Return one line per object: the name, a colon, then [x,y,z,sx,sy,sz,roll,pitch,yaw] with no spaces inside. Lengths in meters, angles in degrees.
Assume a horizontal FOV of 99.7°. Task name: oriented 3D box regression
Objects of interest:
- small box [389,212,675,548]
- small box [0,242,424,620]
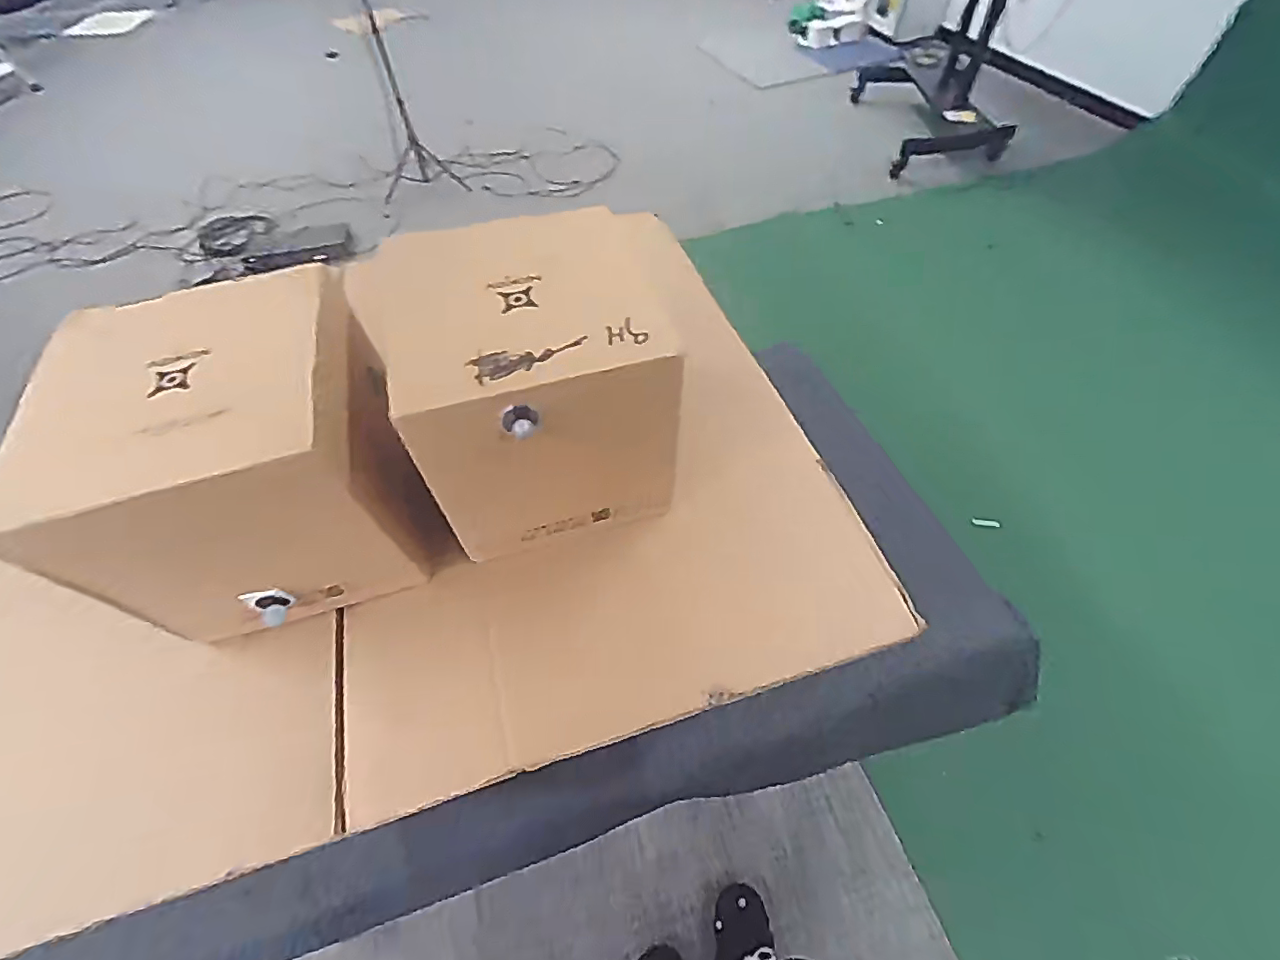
small box: [-0.080,-0.076,0.419,0.168,0.176,0.179,-14,55,-10]
small box: [-0.267,-0.029,0.377,0.168,0.176,0.179,-16,57,-8]
